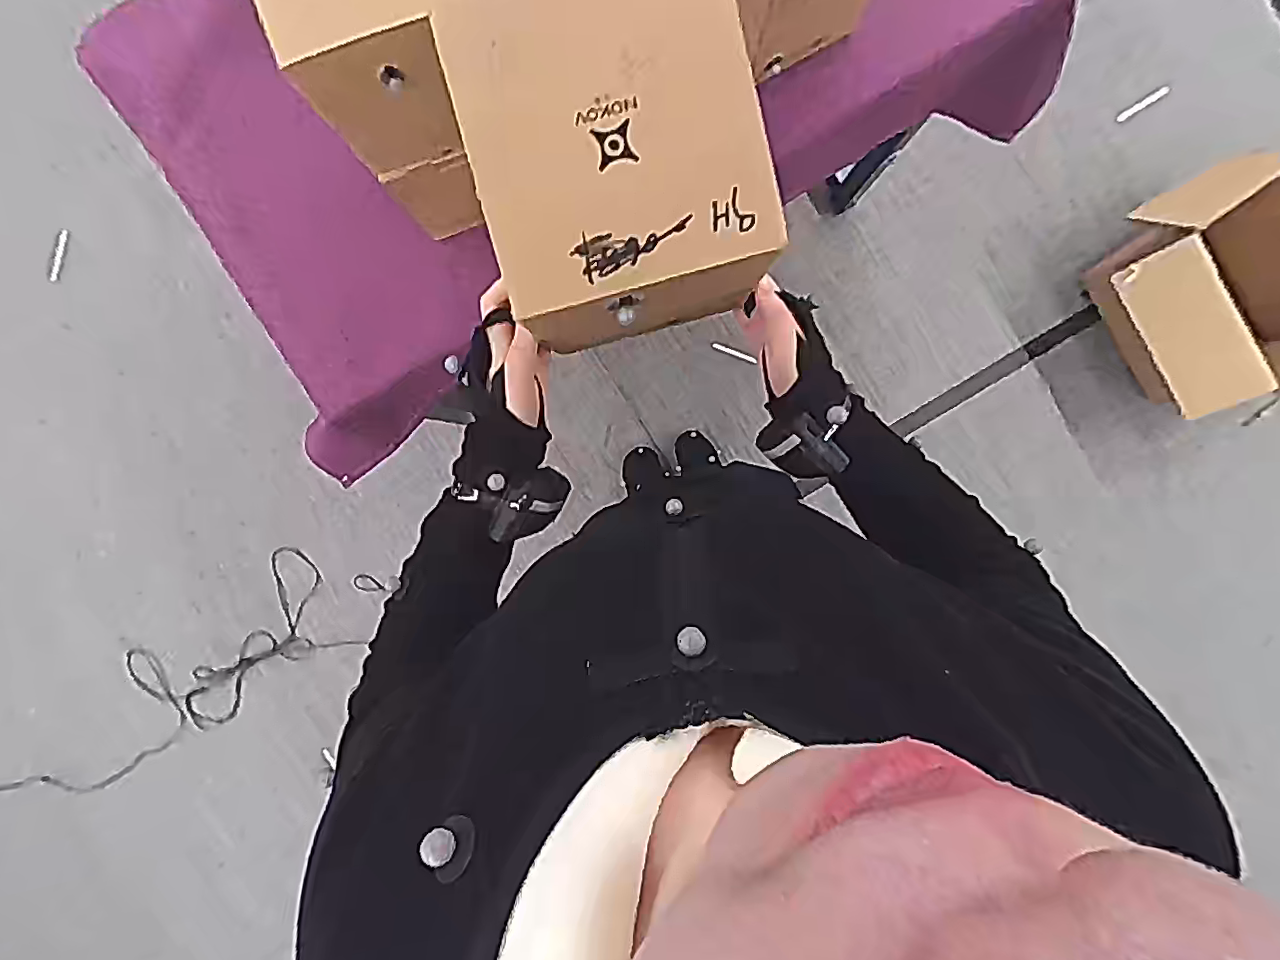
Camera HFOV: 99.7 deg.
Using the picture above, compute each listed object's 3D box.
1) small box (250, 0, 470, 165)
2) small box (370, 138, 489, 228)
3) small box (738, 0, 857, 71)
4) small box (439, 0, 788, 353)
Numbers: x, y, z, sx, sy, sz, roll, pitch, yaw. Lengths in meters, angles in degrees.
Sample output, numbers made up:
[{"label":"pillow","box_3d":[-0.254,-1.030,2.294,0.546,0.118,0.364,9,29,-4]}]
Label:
[{"label":"small box","box_3d":[-0.236,-0.435,0.506,0.179,0.176,0.168,-19,94,0]},{"label":"small box","box_3d":[-0.241,-0.439,0.669,0.168,0.176,0.179,-20,93,0]},{"label":"small box","box_3d":[0.172,-0.650,0.658,0.168,0.176,0.179,-29,92,1]},{"label":"small box","box_3d":[-0.014,-0.204,0.383,0.168,0.176,0.179,-14,95,2]}]
